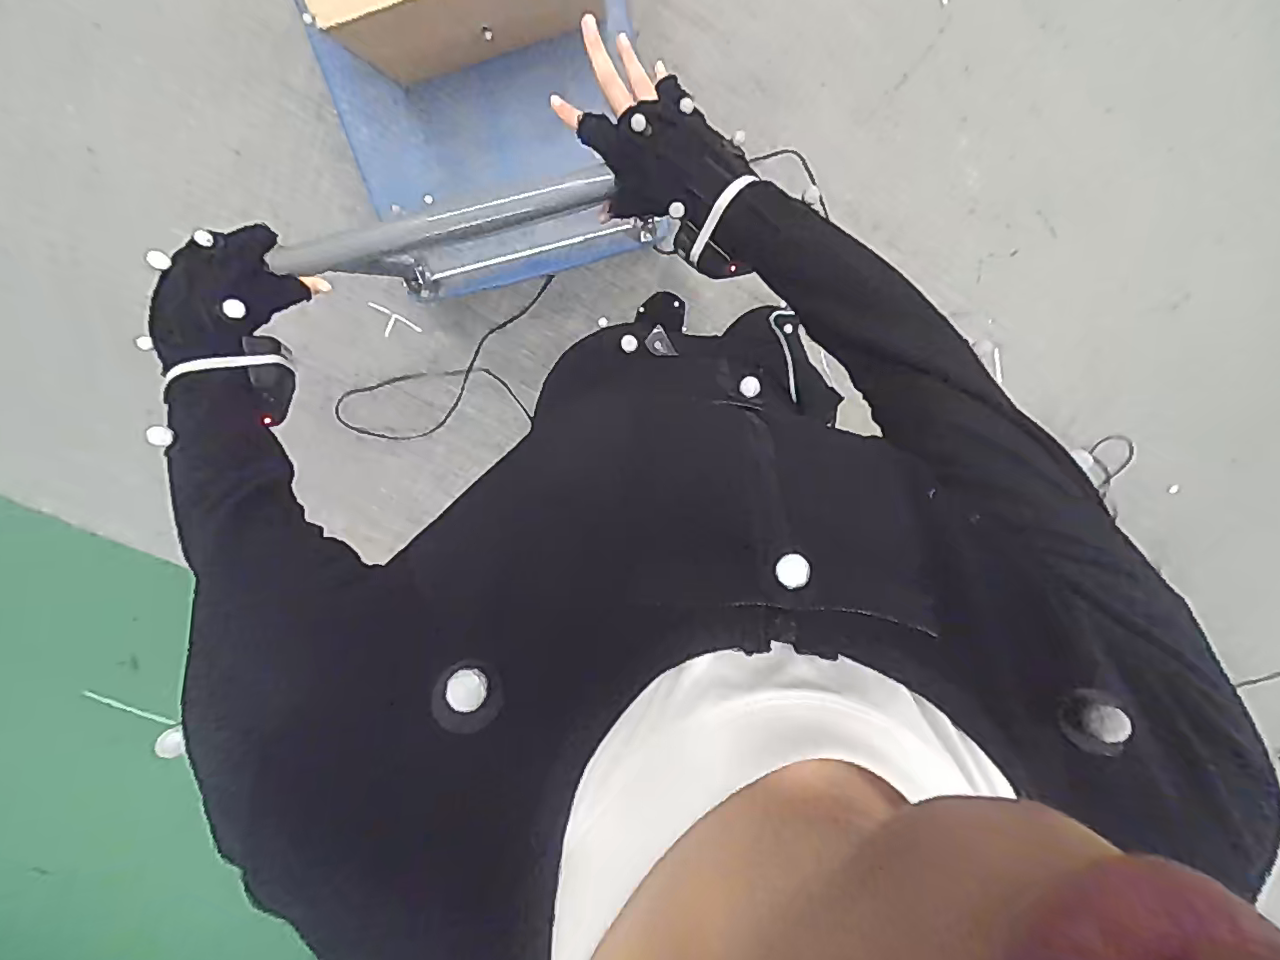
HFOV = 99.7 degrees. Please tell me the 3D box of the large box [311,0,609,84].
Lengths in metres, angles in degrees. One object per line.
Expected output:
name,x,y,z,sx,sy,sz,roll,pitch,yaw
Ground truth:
large box,-0.286,-0.862,0.805,0.408,0.320,0.320,-14,113,6
